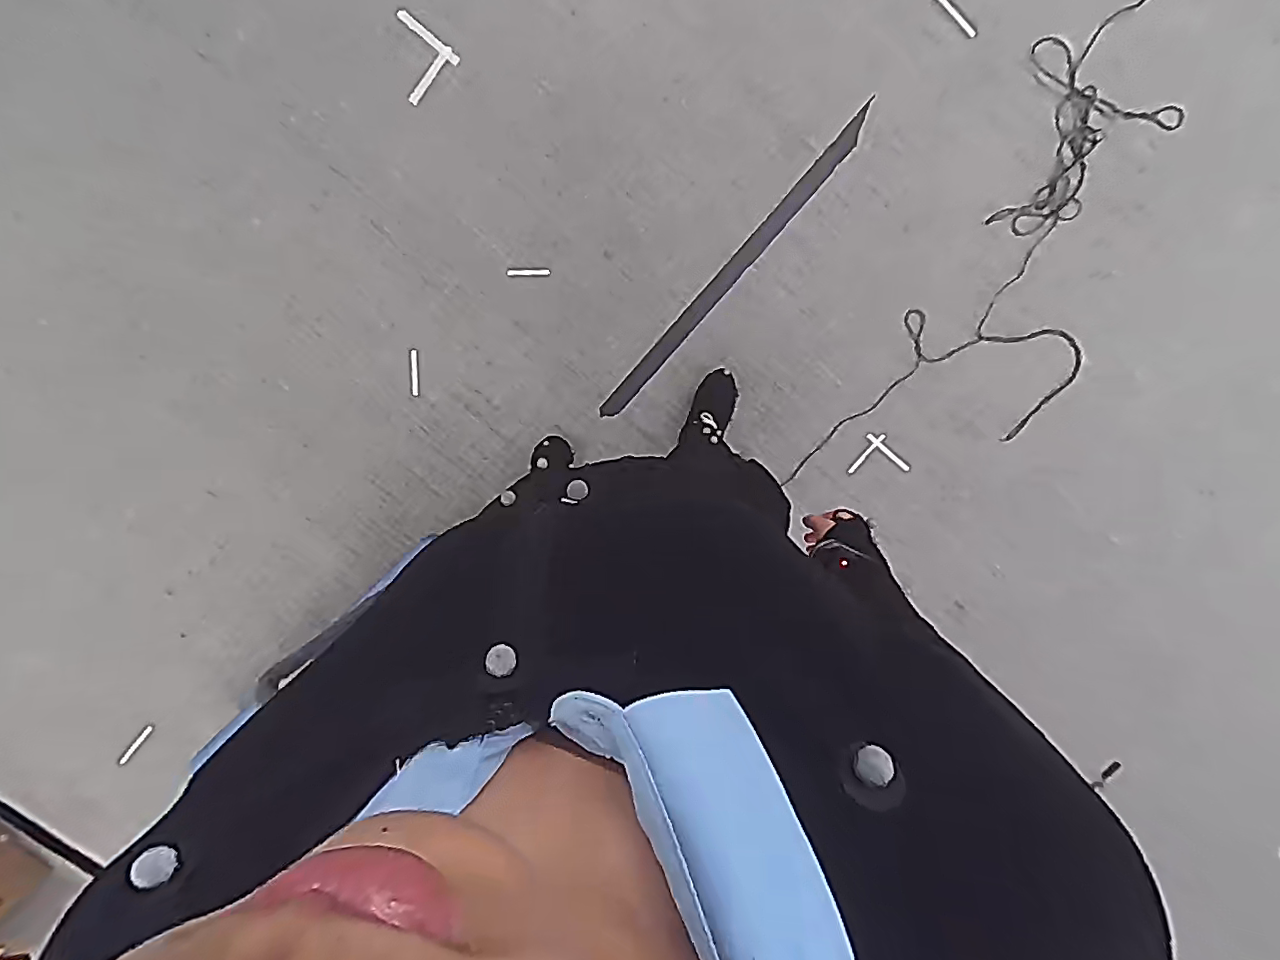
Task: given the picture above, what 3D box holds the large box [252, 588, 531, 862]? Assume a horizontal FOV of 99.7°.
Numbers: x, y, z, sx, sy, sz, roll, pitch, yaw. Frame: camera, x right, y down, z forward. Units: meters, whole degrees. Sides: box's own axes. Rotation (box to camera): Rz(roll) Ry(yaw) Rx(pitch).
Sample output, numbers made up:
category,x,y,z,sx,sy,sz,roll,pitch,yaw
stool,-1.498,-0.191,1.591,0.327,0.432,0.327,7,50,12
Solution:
category,x,y,z,sx,sy,sz,roll,pitch,yaw
large box,-0.514,0.518,1.209,0.408,0.320,0.320,43,93,-6
